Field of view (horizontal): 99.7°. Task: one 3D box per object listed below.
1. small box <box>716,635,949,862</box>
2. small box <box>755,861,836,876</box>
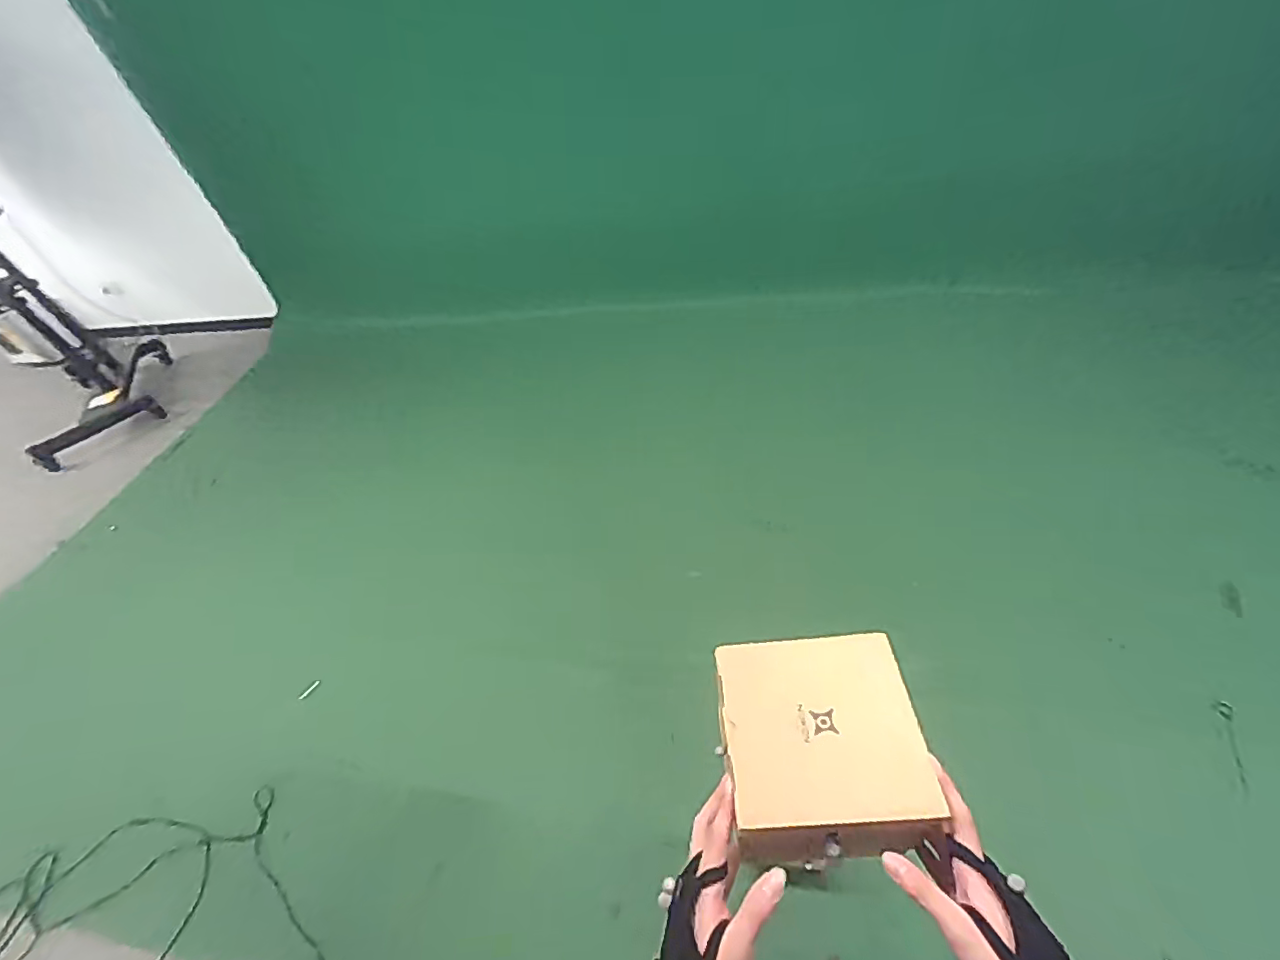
[{"bbox_3d":[0.177,0.279,0.556,0.179,0.176,0.168,-7,46,6],"label":"small box"},{"bbox_3d":[0.364,0.837,1.301,0.179,0.176,0.168,-2,47,11],"label":"small box"}]
